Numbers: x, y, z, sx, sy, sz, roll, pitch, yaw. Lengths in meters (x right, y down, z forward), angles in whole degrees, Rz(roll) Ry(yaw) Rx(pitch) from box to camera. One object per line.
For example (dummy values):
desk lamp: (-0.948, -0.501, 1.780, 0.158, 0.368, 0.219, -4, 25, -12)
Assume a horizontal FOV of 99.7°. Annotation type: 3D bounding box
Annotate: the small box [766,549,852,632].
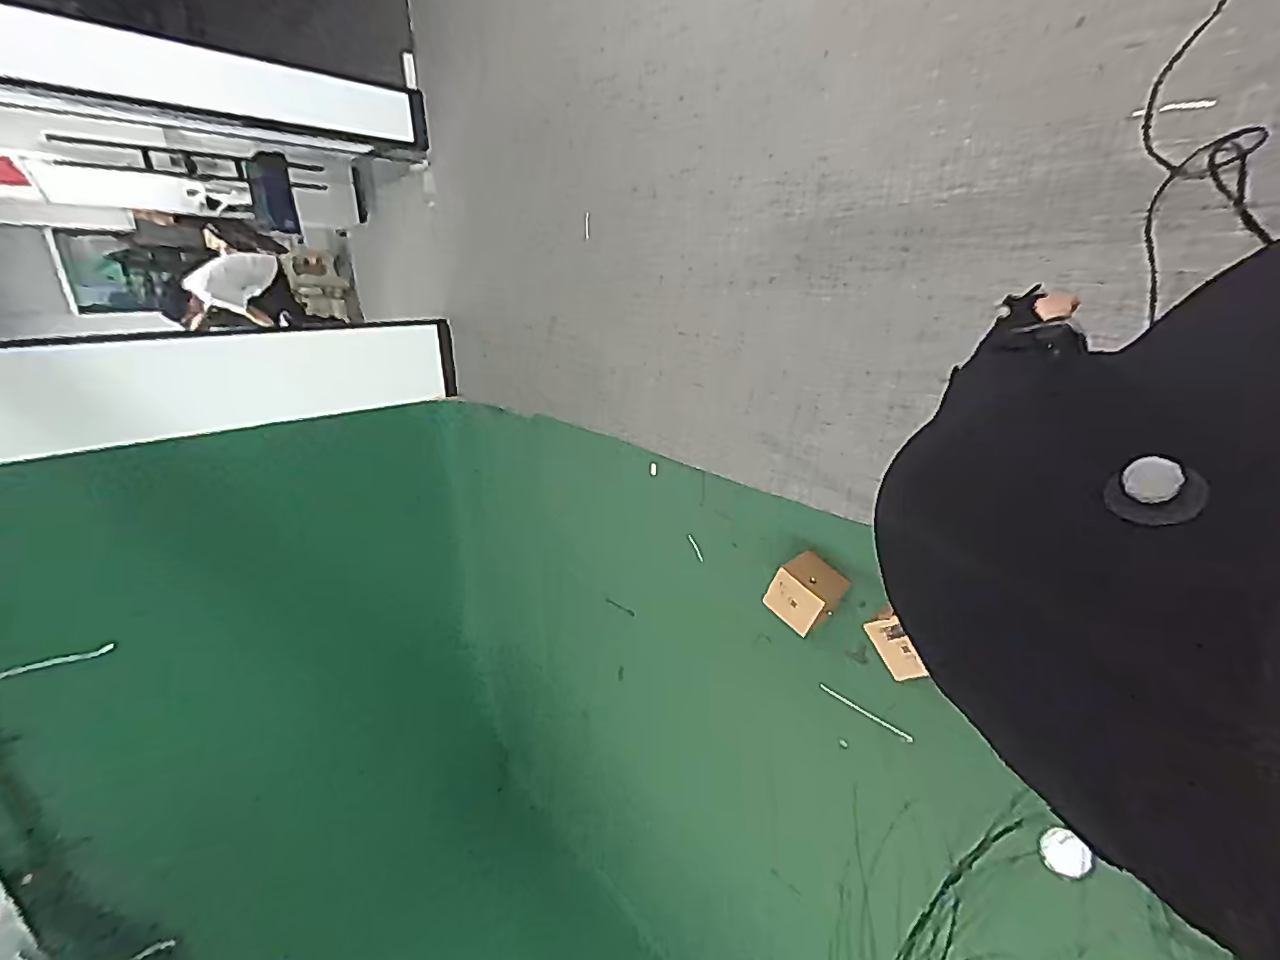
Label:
small box: (0.548, 0.348, 1.746, 0.179, 0.176, 0.168, 42, 131, 32)
